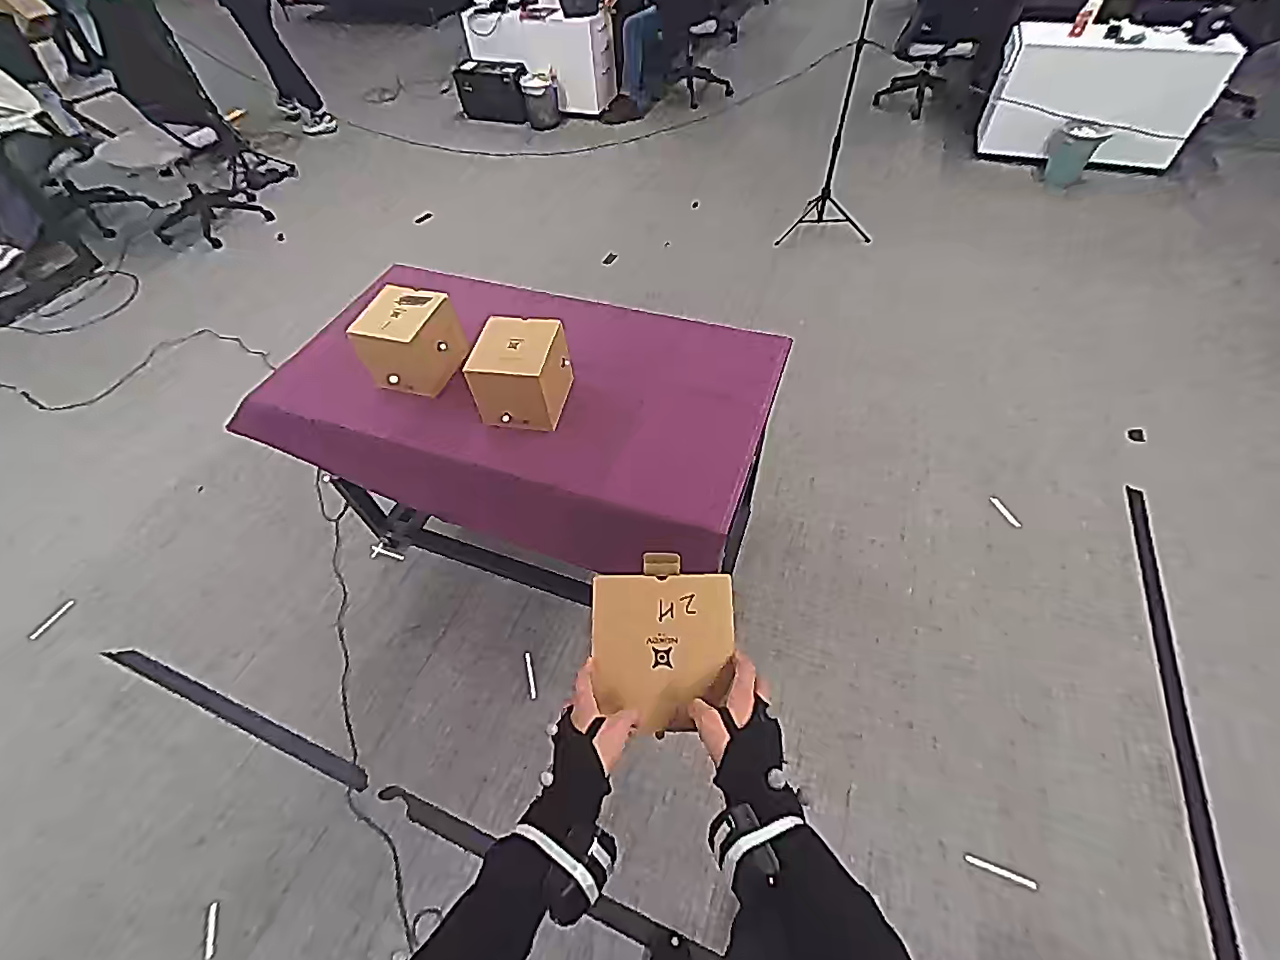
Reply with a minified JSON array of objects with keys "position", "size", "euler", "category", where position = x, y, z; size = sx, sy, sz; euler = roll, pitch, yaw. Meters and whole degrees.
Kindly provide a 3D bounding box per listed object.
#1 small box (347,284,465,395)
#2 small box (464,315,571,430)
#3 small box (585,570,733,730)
[{"position":[-0.534,-0.330,1.271],"size":[0.168,0.176,0.179],"euler":[12,56,13],"category":"small box"},{"position":[-0.256,-0.236,1.184],"size":[0.168,0.176,0.179],"euler":[6,54,9],"category":"small box"},{"position":[0.026,0.216,0.691],"size":[0.168,0.176,0.179],"euler":[-1,70,3],"category":"small box"}]
